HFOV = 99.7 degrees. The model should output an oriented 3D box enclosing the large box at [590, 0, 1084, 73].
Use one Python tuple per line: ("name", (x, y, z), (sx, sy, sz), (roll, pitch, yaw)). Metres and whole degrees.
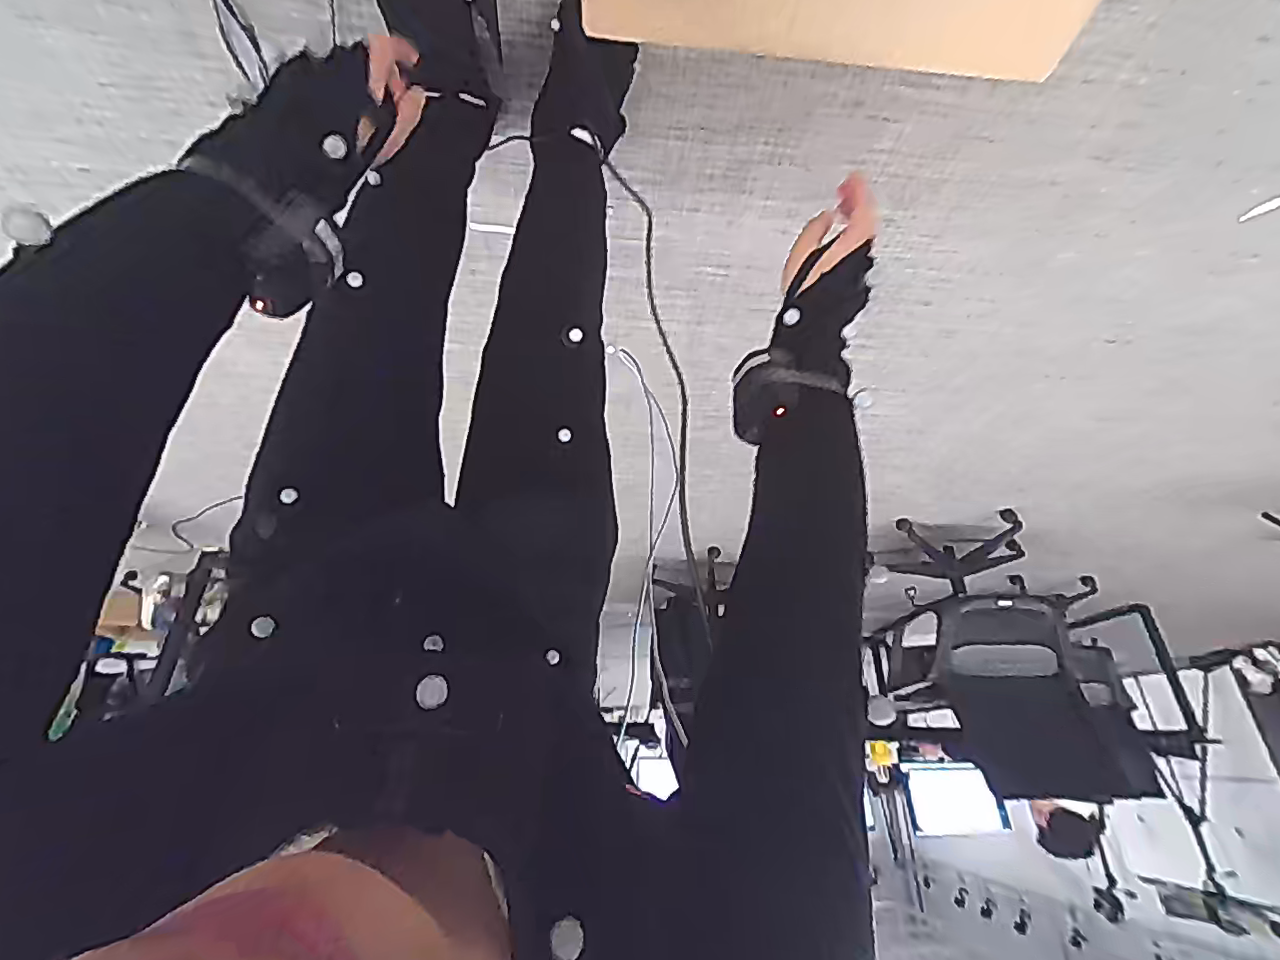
("large box", (0.161, -0.565, 0.400), (0.408, 0.320, 0.320), (1, 153, -5))
